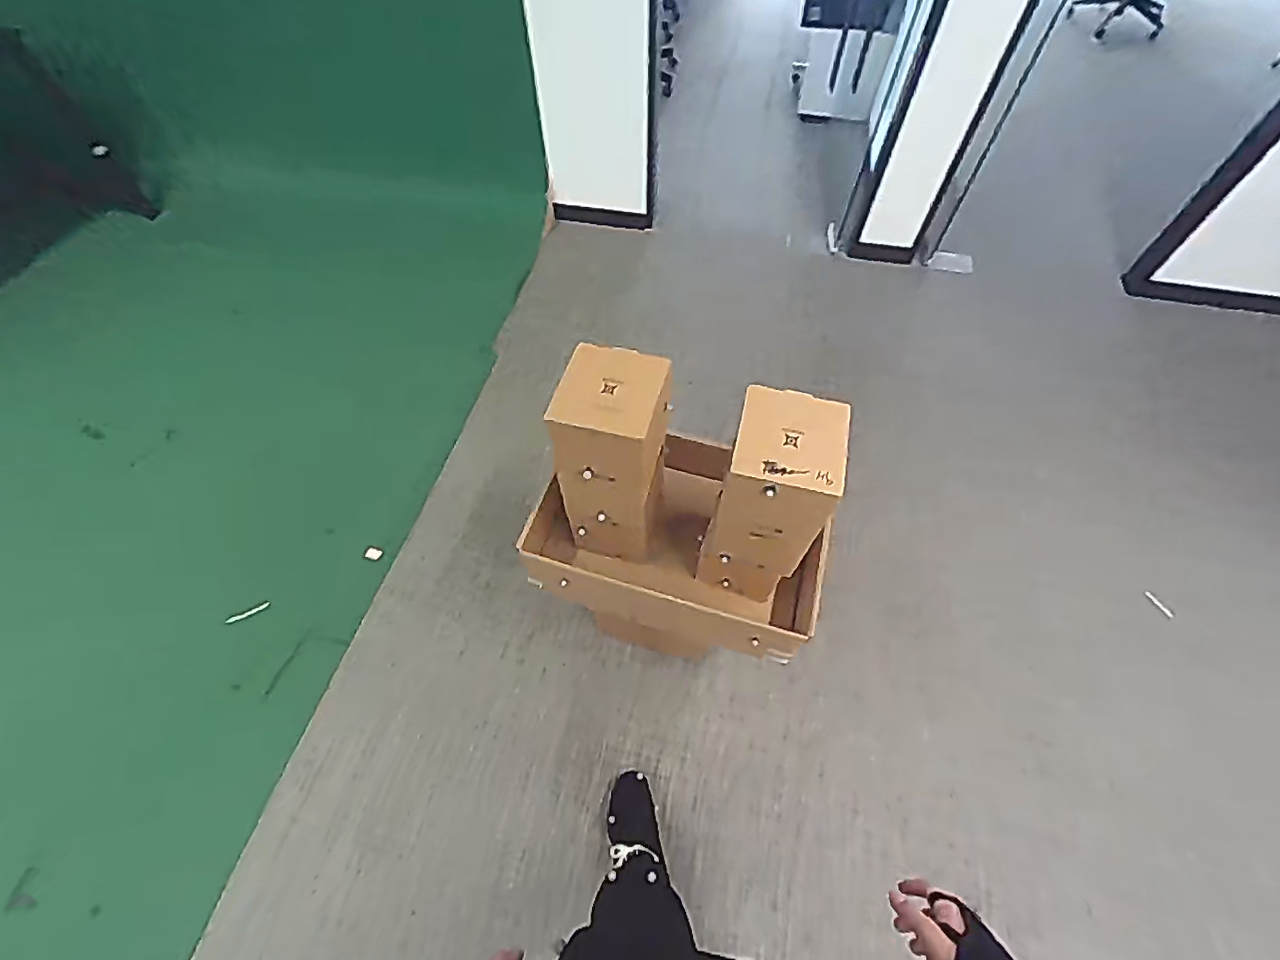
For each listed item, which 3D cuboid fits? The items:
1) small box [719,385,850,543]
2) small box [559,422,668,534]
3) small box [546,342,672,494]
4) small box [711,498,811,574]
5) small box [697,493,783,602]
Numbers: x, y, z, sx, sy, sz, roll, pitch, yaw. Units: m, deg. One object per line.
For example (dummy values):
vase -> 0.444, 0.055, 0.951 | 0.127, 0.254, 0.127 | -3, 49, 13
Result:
small box -> 0.231, -0.023, 0.887 | 0.168, 0.176, 0.179 | 13, 59, 8
small box -> -0.048, -0.020, 1.075 | 0.168, 0.176, 0.179 | 13, 59, 8
small box -> -0.048, -0.104, 0.936 | 0.168, 0.176, 0.179 | 13, 59, 9
small box -> 0.234, 0.059, 1.029 | 0.168, 0.176, 0.179 | 12, 59, 7
small box -> 0.228, 0.138, 1.172 | 0.168, 0.176, 0.179 | 17, 60, 10
